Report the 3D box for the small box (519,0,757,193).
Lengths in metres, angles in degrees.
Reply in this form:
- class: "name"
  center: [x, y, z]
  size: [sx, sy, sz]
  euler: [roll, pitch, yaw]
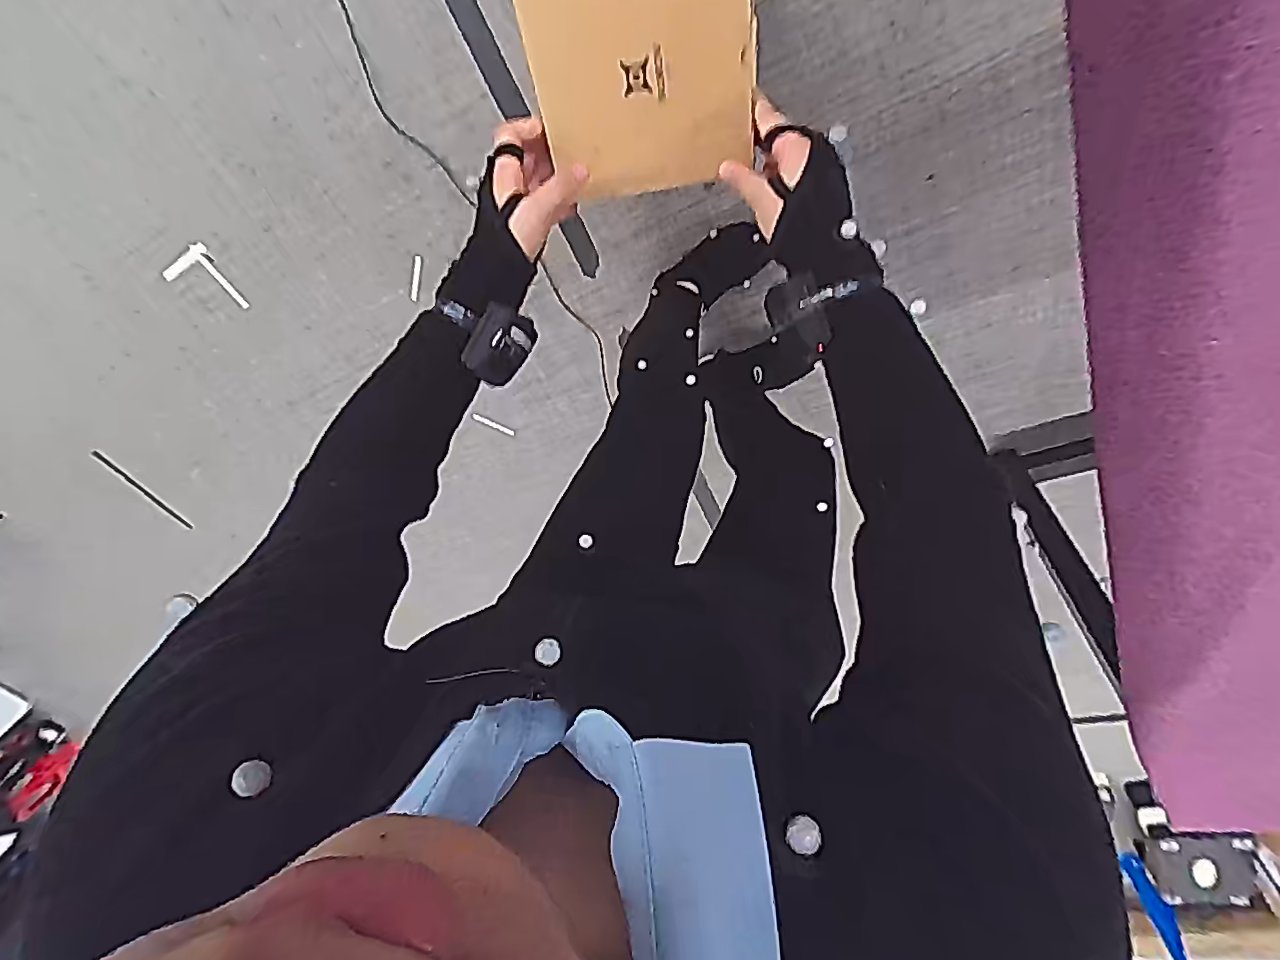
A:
- class: "small box"
  center: [0.008, -0.380, 0.484]
  size: [0.179, 0.176, 0.168]
  euler: [-6, 133, 8]
